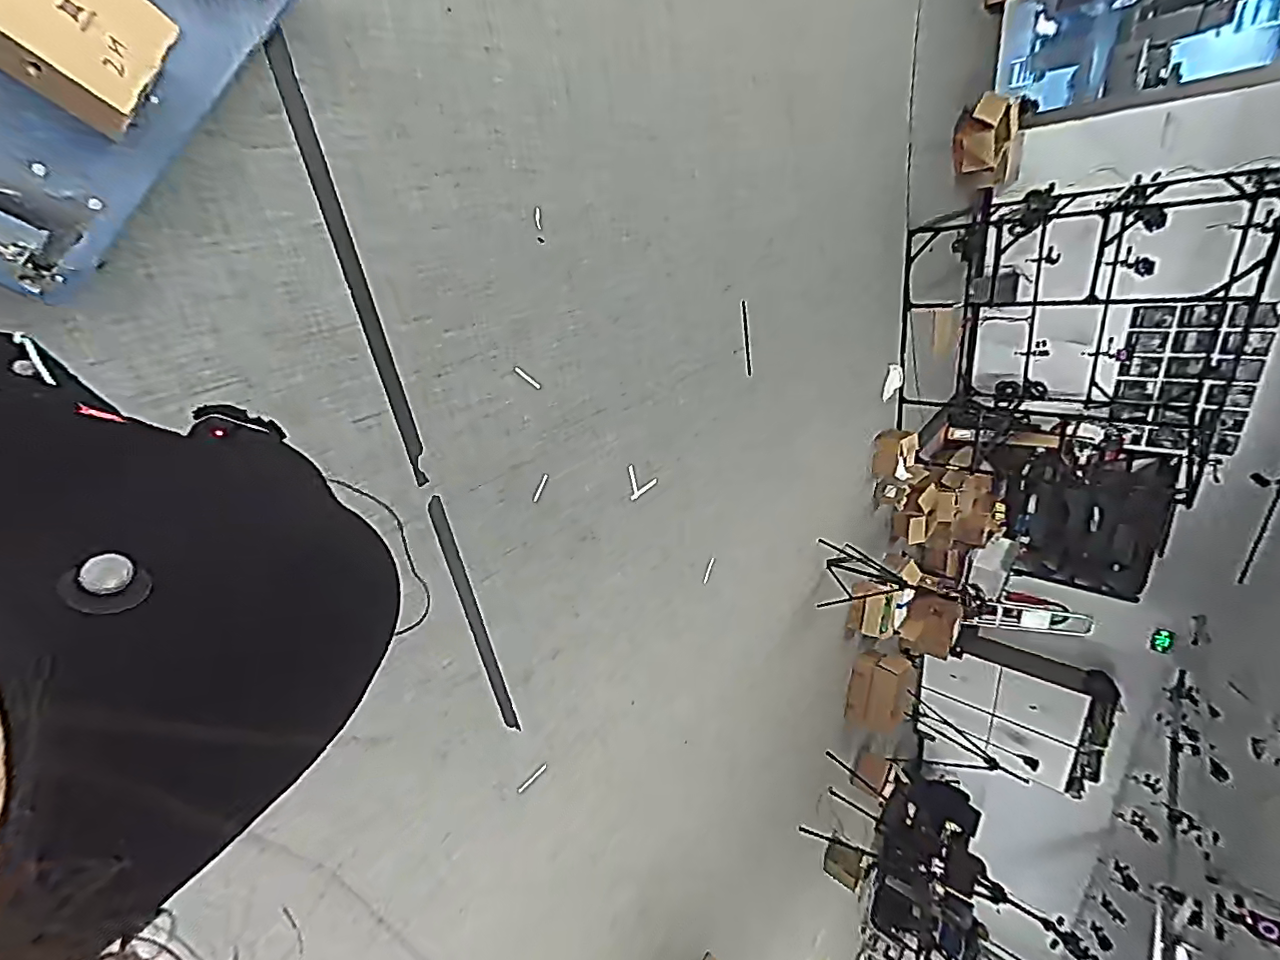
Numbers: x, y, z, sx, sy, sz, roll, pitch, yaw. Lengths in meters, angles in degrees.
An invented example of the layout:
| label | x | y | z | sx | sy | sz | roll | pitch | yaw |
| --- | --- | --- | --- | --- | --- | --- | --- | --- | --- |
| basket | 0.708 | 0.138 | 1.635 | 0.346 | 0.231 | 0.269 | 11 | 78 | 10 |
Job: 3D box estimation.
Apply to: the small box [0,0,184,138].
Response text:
| label | x | y | z | sx | sy | sz | roll | pitch | yaw |
| --- | --- | --- | --- | --- | --- | --- | --- | --- | --- |
| small box | -0.831 | -0.649 | 0.798 | 0.179 | 0.176 | 0.168 | 32 | 76 | -48 |
